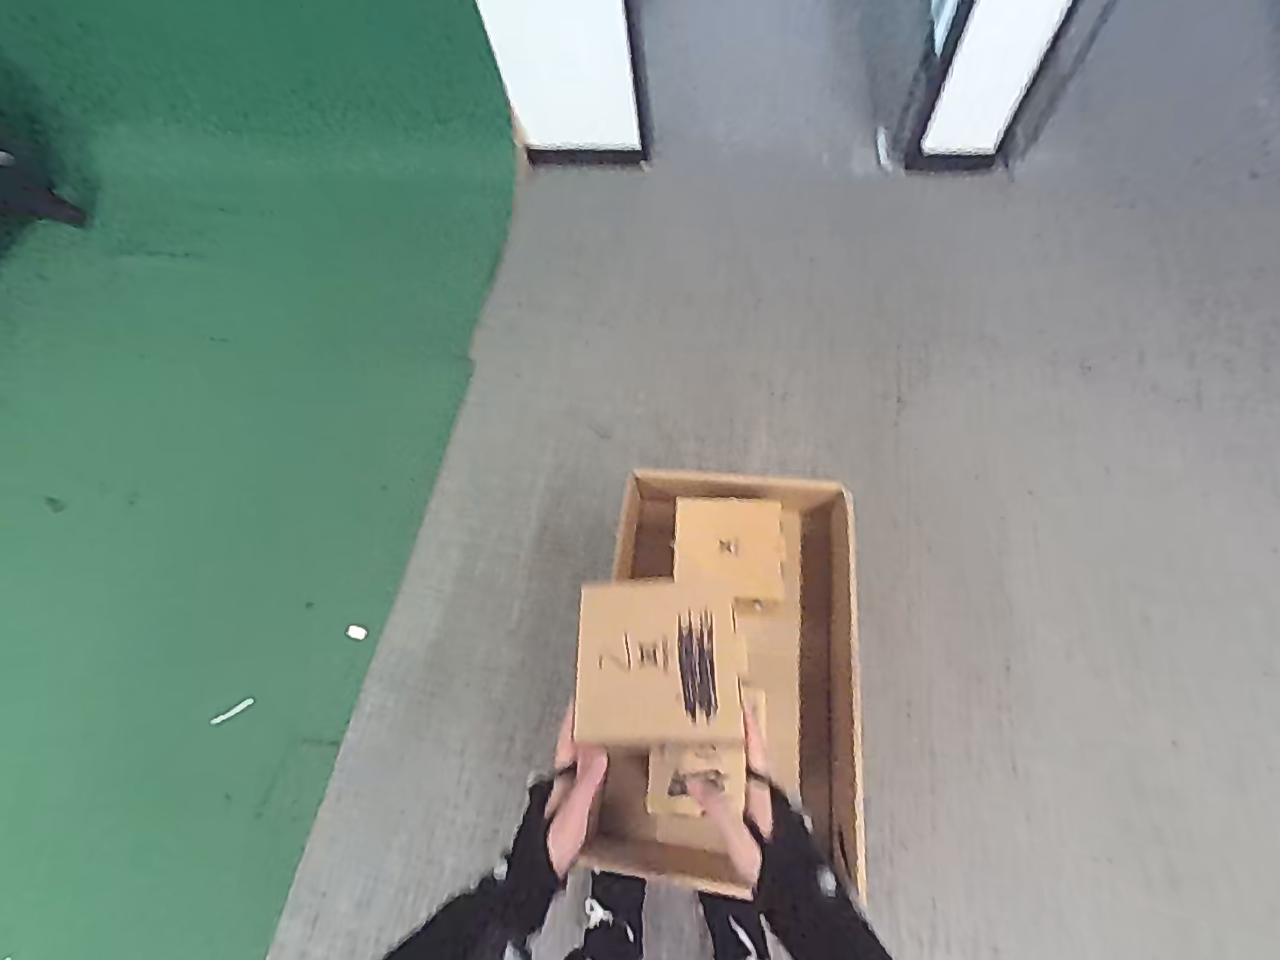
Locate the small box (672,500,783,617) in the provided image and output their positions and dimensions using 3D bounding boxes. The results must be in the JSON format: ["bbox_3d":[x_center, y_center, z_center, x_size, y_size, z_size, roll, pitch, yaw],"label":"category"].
[{"bbox_3d":[0.152,0.143,0.955,0.179,0.176,0.168,1,66,7],"label":"small box"}]
